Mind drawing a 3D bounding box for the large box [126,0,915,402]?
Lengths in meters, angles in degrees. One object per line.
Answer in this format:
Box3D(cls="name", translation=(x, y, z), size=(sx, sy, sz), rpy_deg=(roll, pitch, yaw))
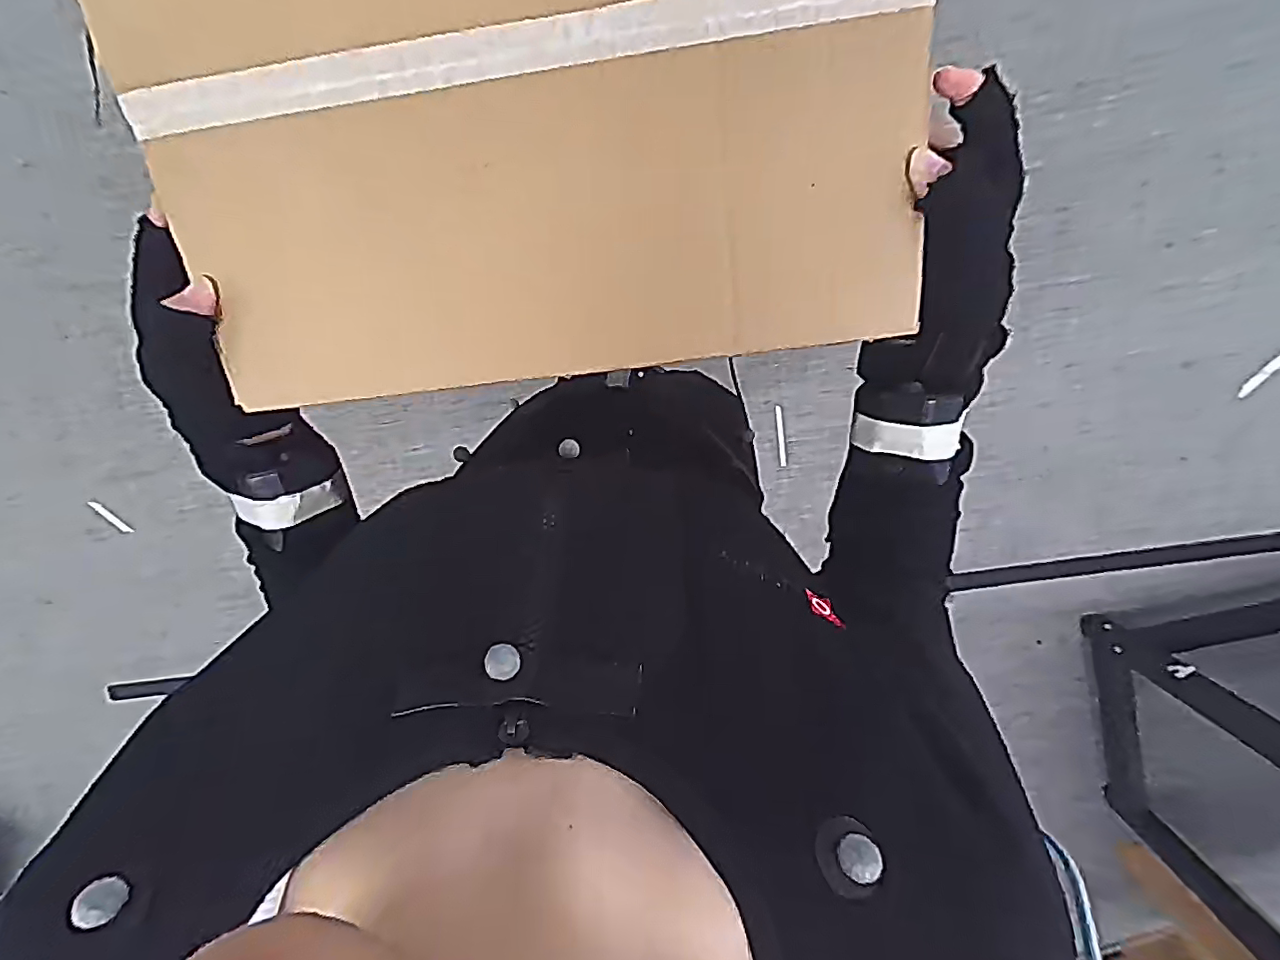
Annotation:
Box3D(cls="large box", translation=(-0.056, -0.263, 0.420), size=(0.408, 0.320, 0.320), rpy_deg=(-6, 110, 5))
